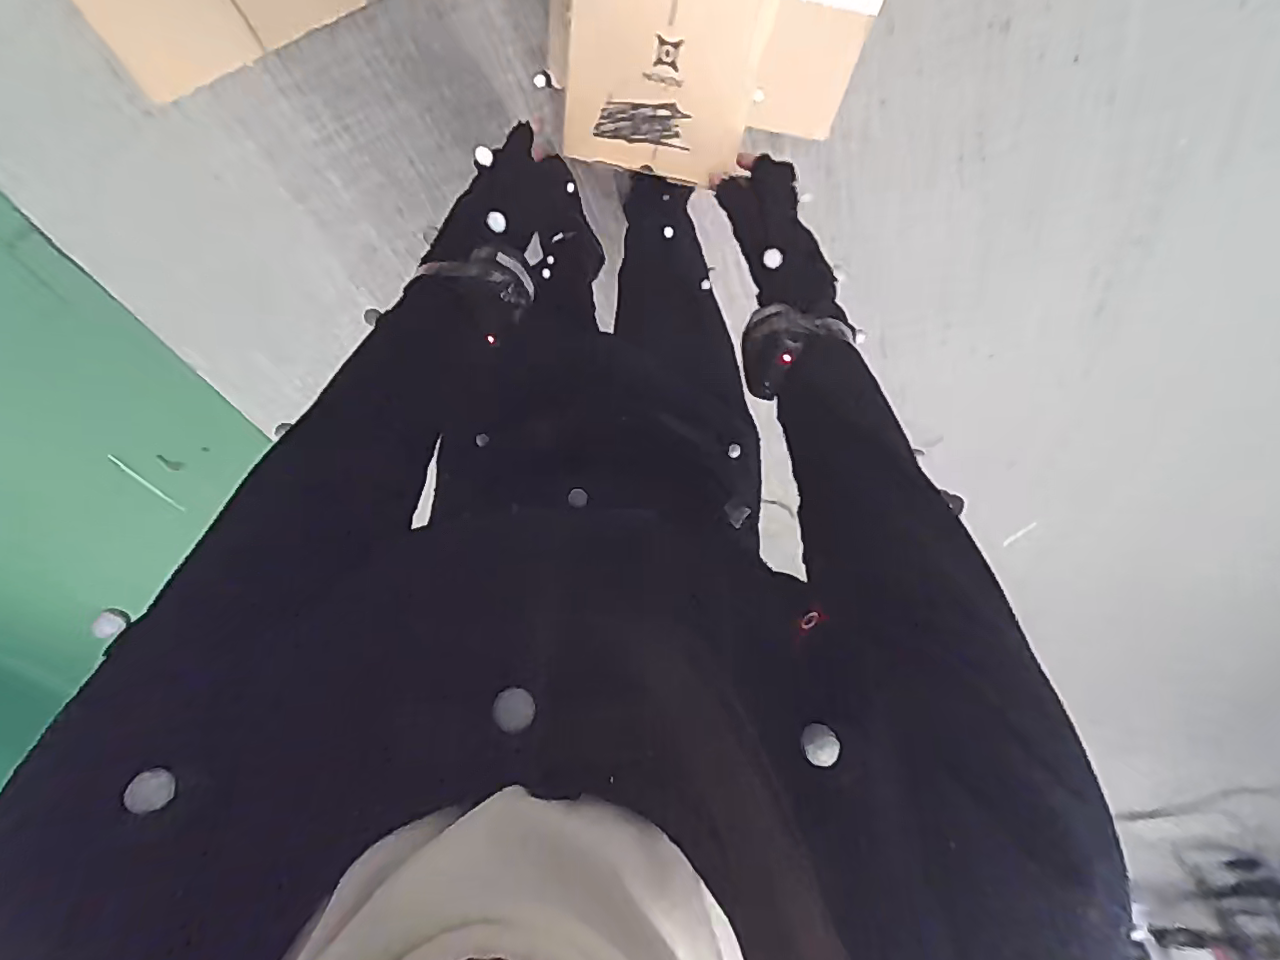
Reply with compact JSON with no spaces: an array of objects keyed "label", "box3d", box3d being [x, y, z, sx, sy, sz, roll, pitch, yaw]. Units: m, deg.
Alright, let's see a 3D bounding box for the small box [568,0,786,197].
[{"label":"small box","box3d":[0.033,-0.408,0.521,0.168,0.176,0.179,11,135,-3]}]
